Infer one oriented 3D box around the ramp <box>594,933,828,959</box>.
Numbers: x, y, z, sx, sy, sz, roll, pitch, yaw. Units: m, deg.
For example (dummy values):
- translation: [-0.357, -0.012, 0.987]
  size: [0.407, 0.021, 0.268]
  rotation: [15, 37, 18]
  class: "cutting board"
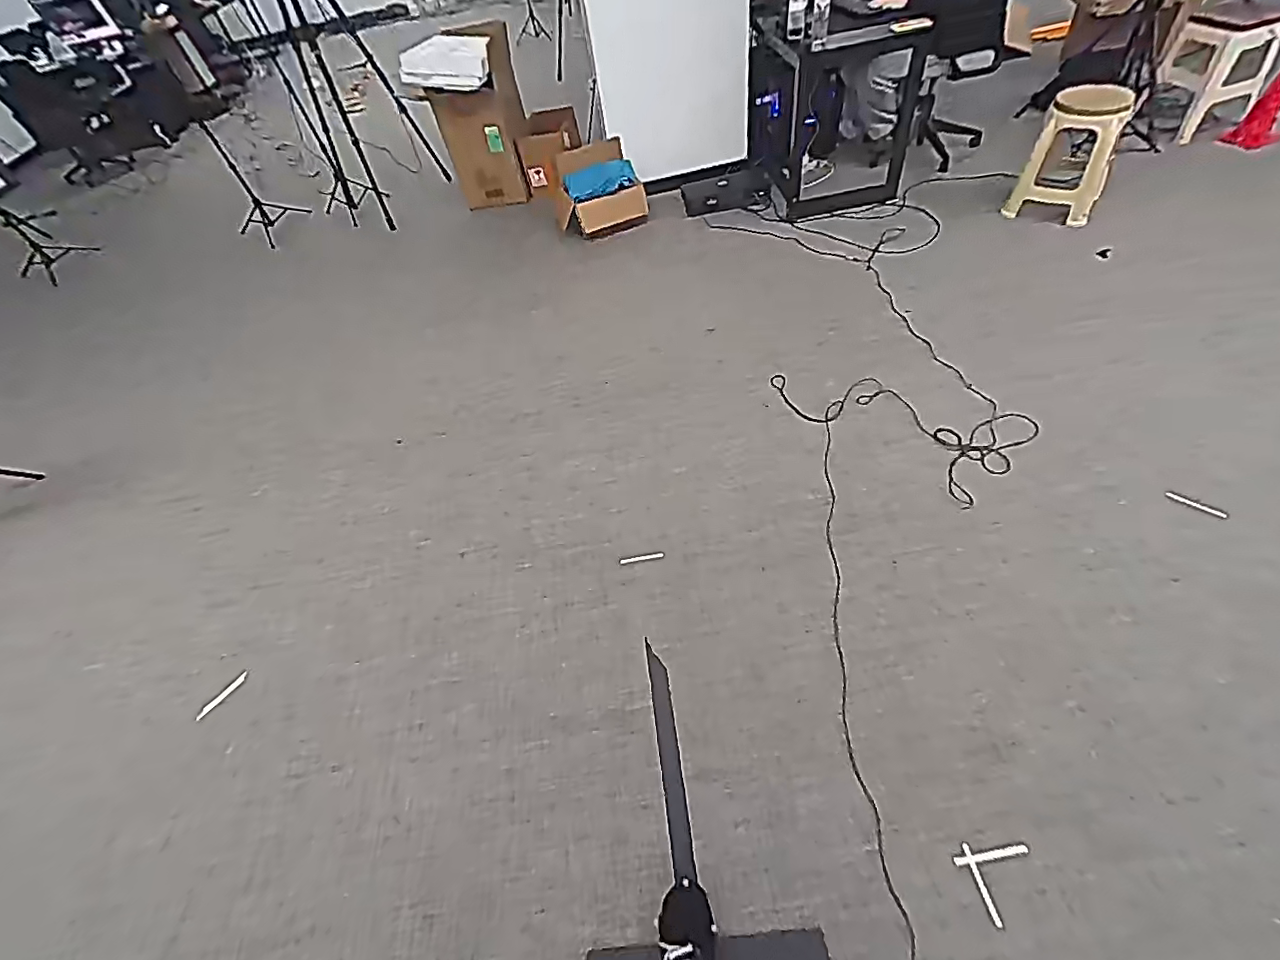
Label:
- translation: [0.155, 1.275, 0.730]
  size: [0.509, 0.206, 0.991]
  rotation: [-11, 49, 3]
  class: "ramp"
